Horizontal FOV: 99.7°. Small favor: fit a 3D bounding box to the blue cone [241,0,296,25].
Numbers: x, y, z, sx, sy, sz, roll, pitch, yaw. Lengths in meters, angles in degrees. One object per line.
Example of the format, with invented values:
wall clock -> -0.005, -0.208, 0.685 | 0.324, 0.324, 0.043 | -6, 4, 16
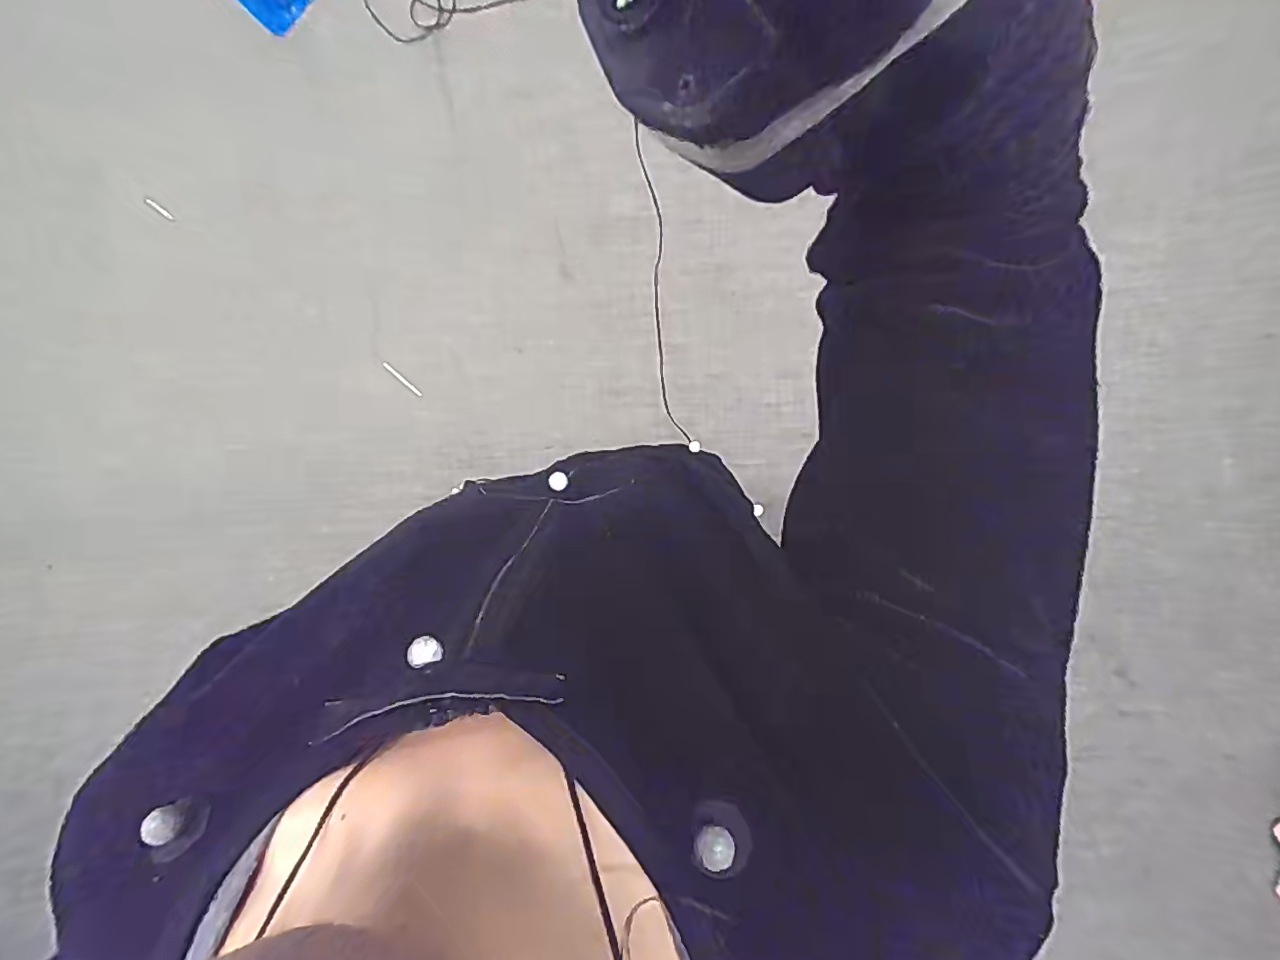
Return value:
blue cone -> -1.041, -1.380, 1.343 | 0.192, 0.380, 0.193 | 42, 96, 1
